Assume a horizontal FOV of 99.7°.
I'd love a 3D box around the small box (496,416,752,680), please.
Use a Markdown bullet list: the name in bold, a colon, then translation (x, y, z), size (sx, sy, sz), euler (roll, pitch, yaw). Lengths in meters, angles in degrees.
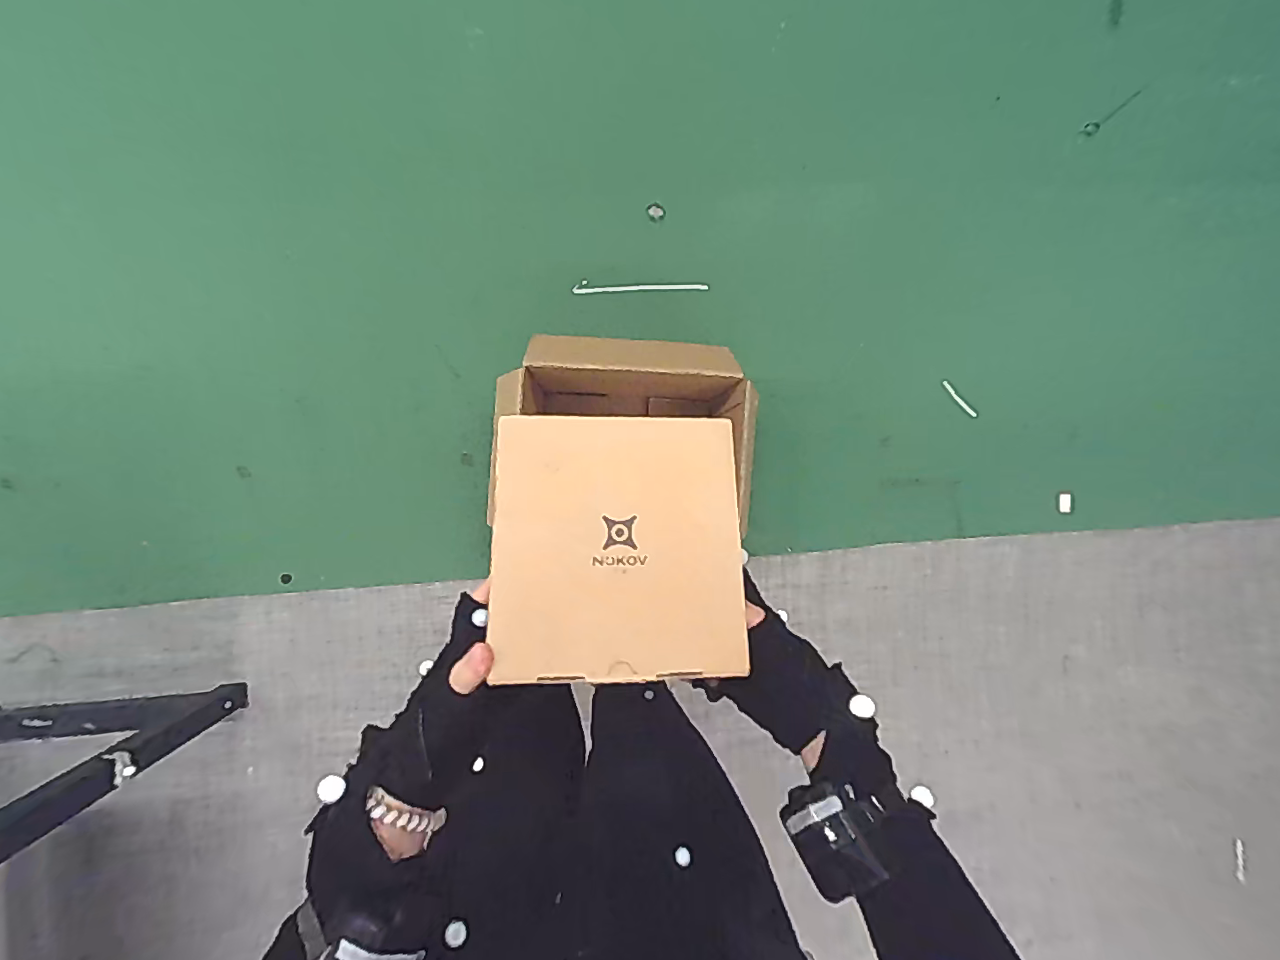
- **small box**: translation (-0.020, 0.062, 0.437), size (0.168, 0.176, 0.179), euler (0, 75, -7)
